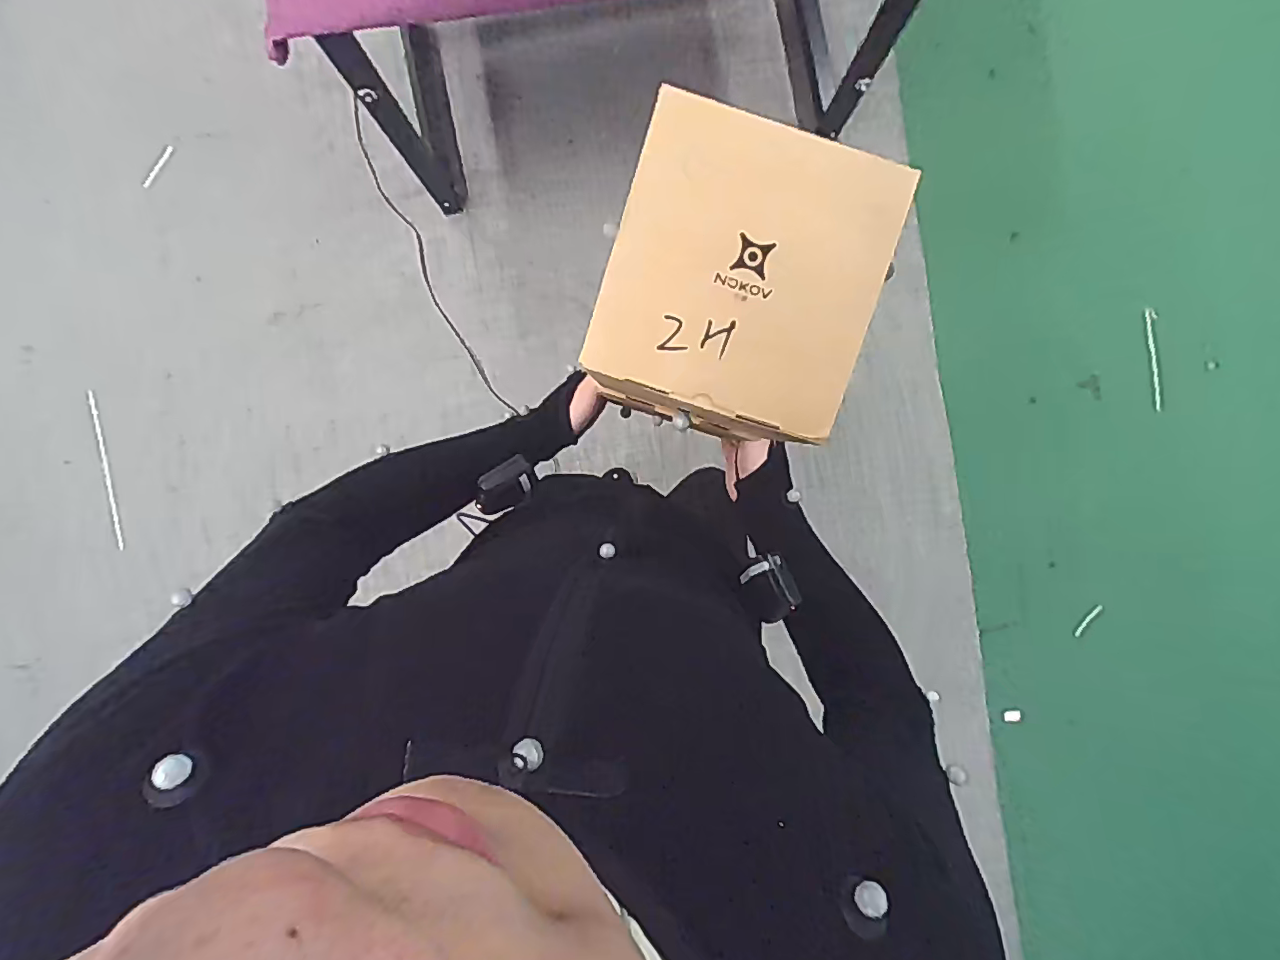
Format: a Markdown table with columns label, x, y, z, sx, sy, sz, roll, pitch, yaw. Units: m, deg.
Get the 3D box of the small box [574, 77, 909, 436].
| label | x | y | z | sx | sy | sz | roll | pitch | yaw |
| --- | --- | --- | --- | --- | --- | --- | --- | --- | --- |
| small box | 0.060 | -0.141 | 0.409 | 0.168 | 0.176 | 0.179 | 18 | 96 | -1 |
